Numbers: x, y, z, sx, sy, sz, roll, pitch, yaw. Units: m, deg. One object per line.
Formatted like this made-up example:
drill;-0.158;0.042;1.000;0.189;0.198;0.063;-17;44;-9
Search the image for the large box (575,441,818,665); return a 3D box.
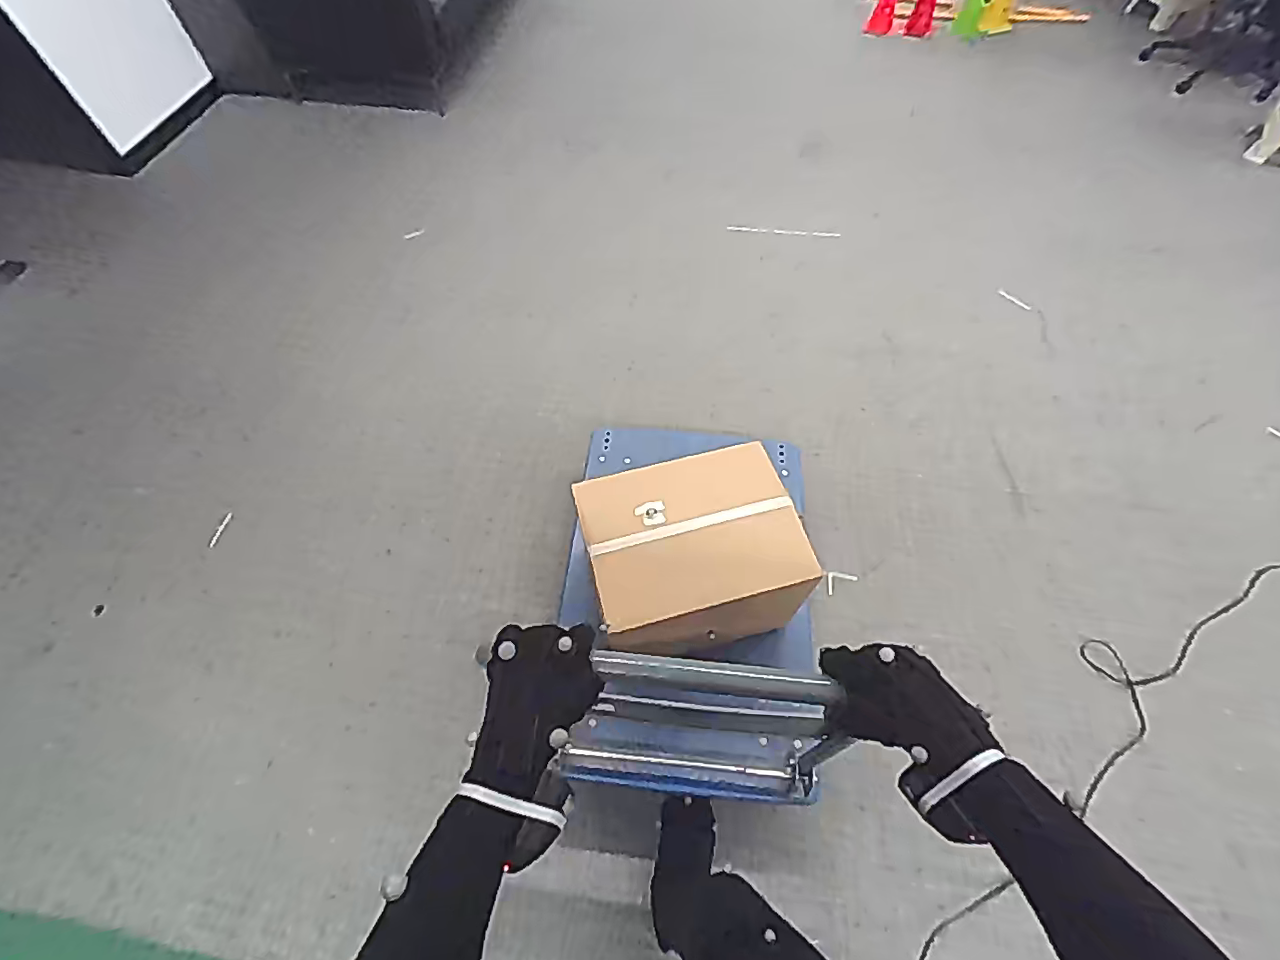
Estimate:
large box;0.103;0.166;1.167;0.408;0.320;0.320;-14;59;-7
